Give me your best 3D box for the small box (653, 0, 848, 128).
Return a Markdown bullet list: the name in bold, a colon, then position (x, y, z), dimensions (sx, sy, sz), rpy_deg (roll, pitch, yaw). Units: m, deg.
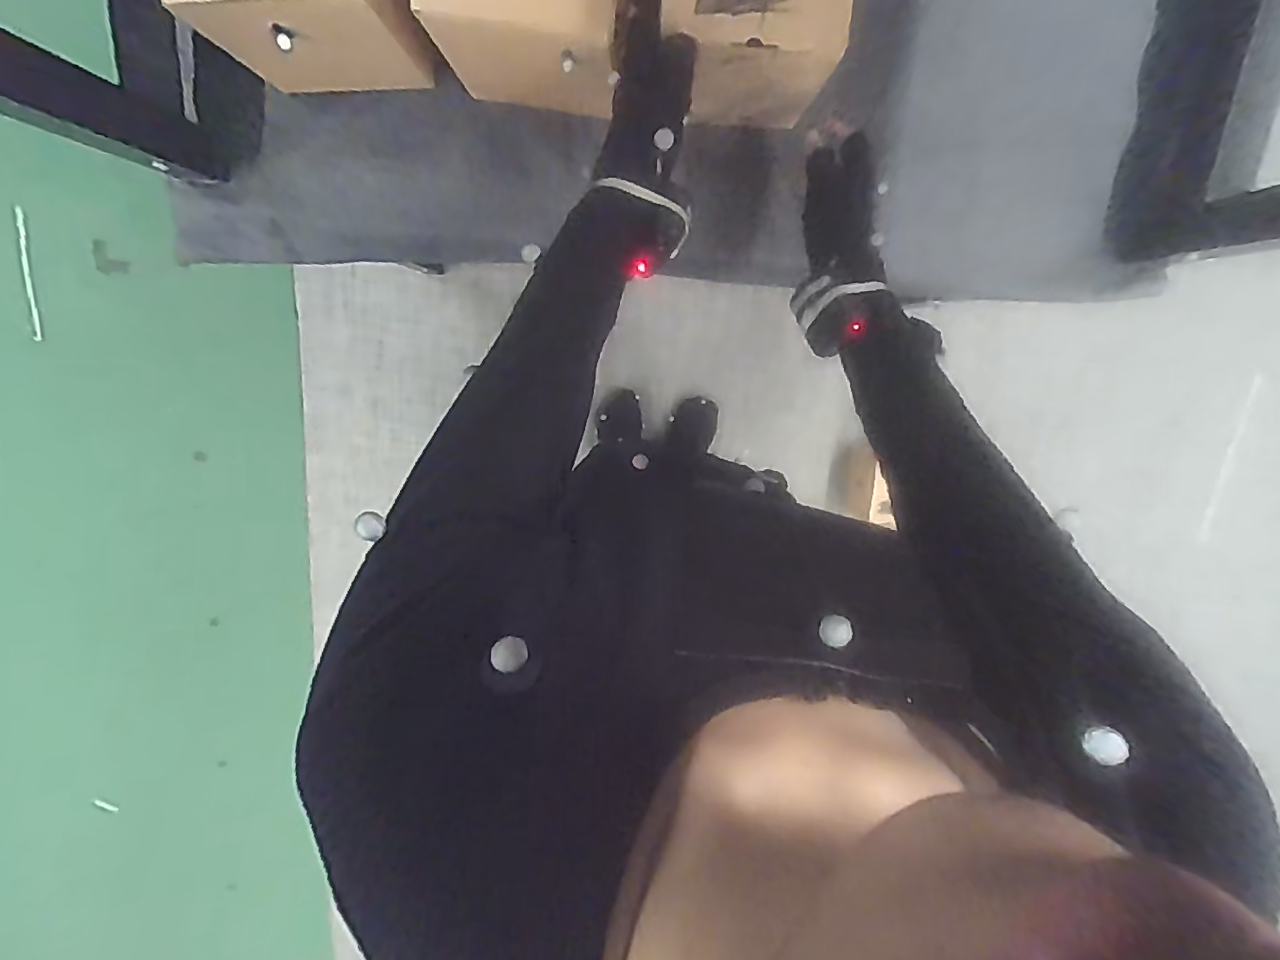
- **small box**: position (0.101, -0.474, 0.529), dimensions (0.168, 0.176, 0.179), rpy_deg (3, 103, -1)
